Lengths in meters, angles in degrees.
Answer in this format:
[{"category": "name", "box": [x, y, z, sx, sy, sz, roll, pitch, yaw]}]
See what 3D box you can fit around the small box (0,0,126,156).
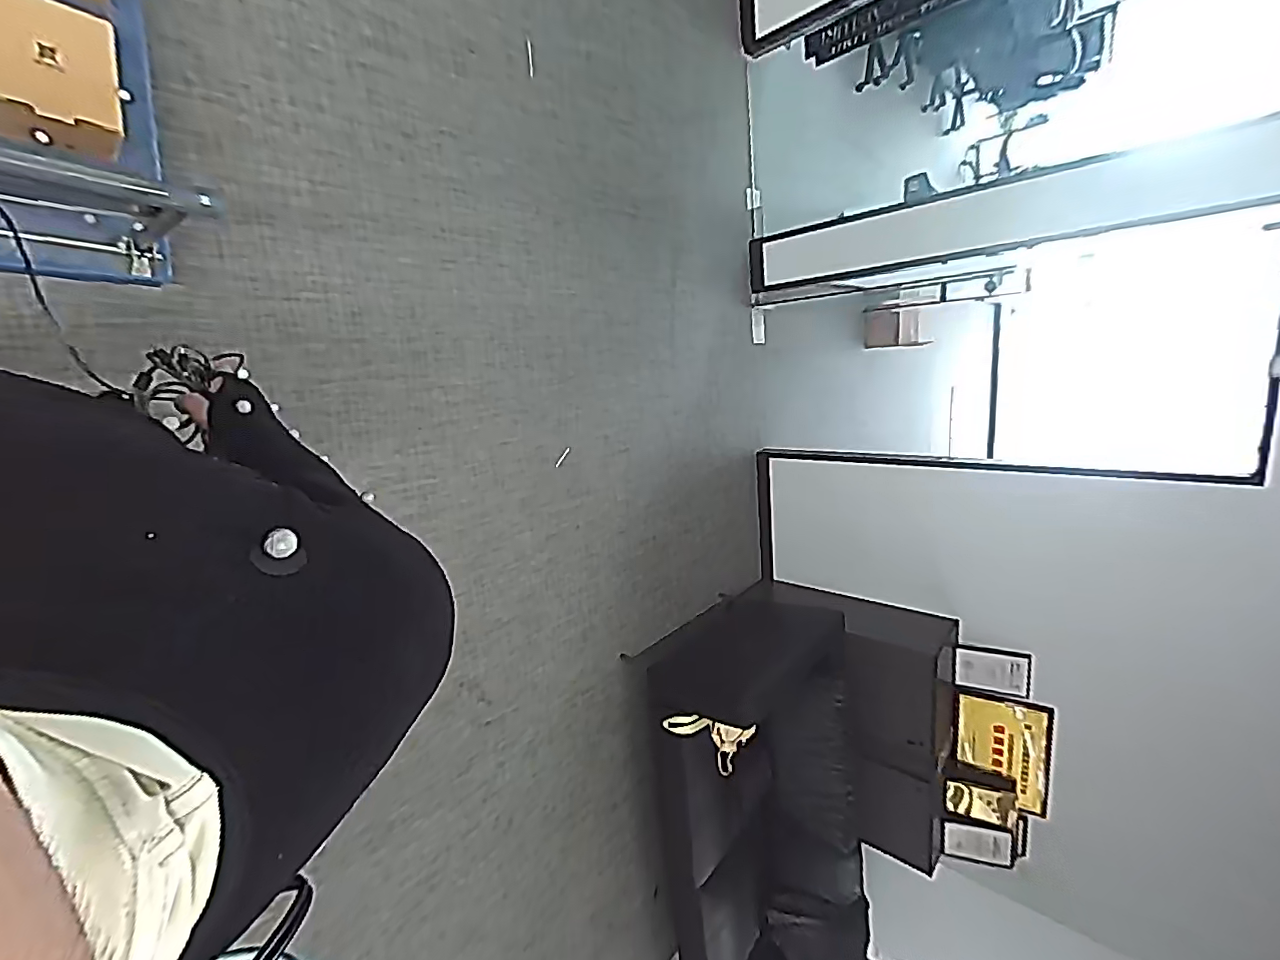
[{"category": "small box", "box": [-1.002, -0.690, 0.917, 0.168, 0.176, 0.179, -8, 102, -47]}]
